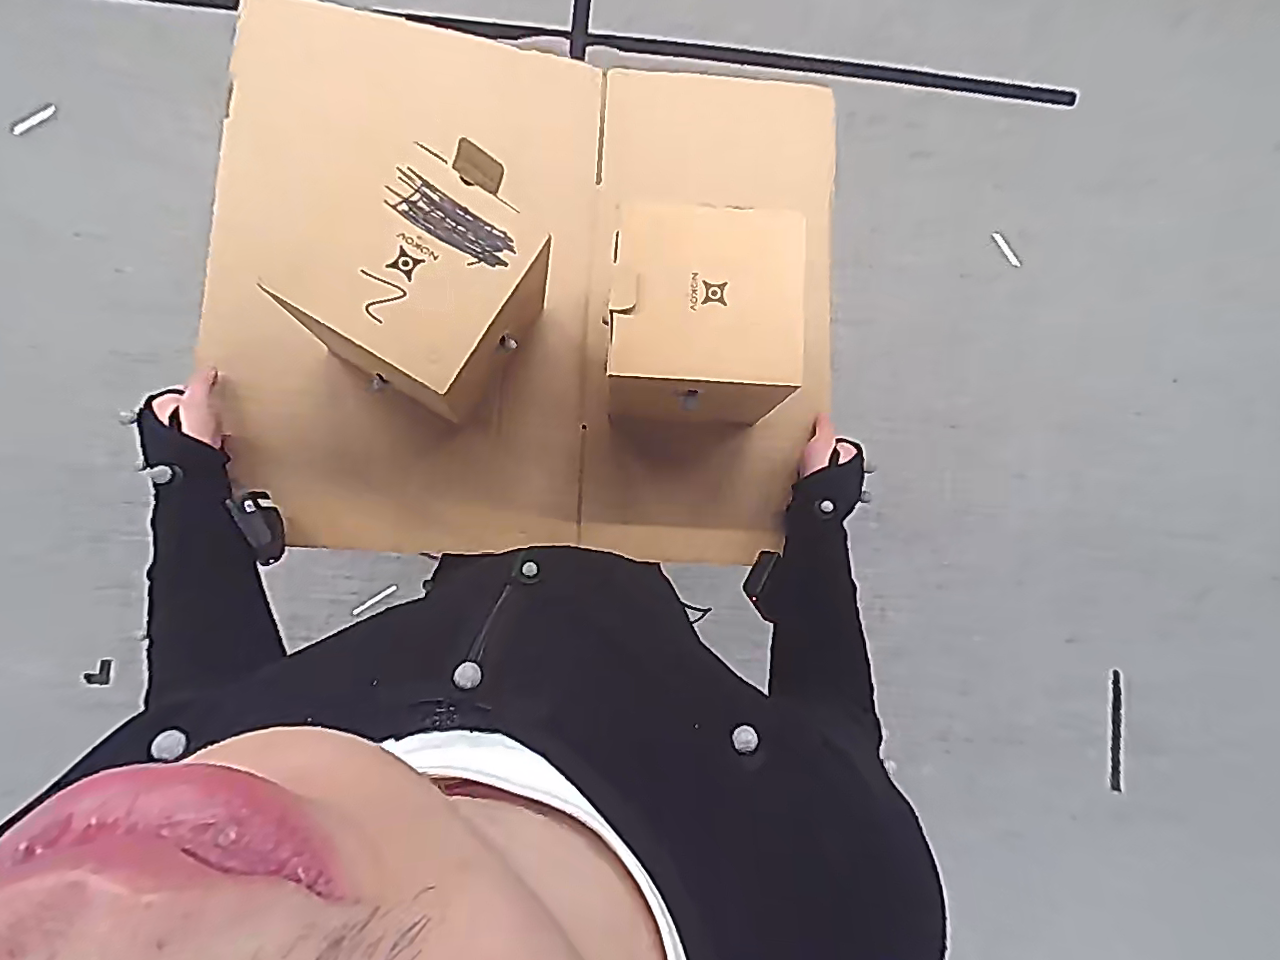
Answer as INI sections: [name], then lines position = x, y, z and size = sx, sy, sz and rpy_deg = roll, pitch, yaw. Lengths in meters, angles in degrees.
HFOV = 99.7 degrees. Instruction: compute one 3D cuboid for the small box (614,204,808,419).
[small box]
position = 0.064, -0.163, 0.578
size = 0.179, 0.176, 0.168
rpy_deg = 3, 85, -1
